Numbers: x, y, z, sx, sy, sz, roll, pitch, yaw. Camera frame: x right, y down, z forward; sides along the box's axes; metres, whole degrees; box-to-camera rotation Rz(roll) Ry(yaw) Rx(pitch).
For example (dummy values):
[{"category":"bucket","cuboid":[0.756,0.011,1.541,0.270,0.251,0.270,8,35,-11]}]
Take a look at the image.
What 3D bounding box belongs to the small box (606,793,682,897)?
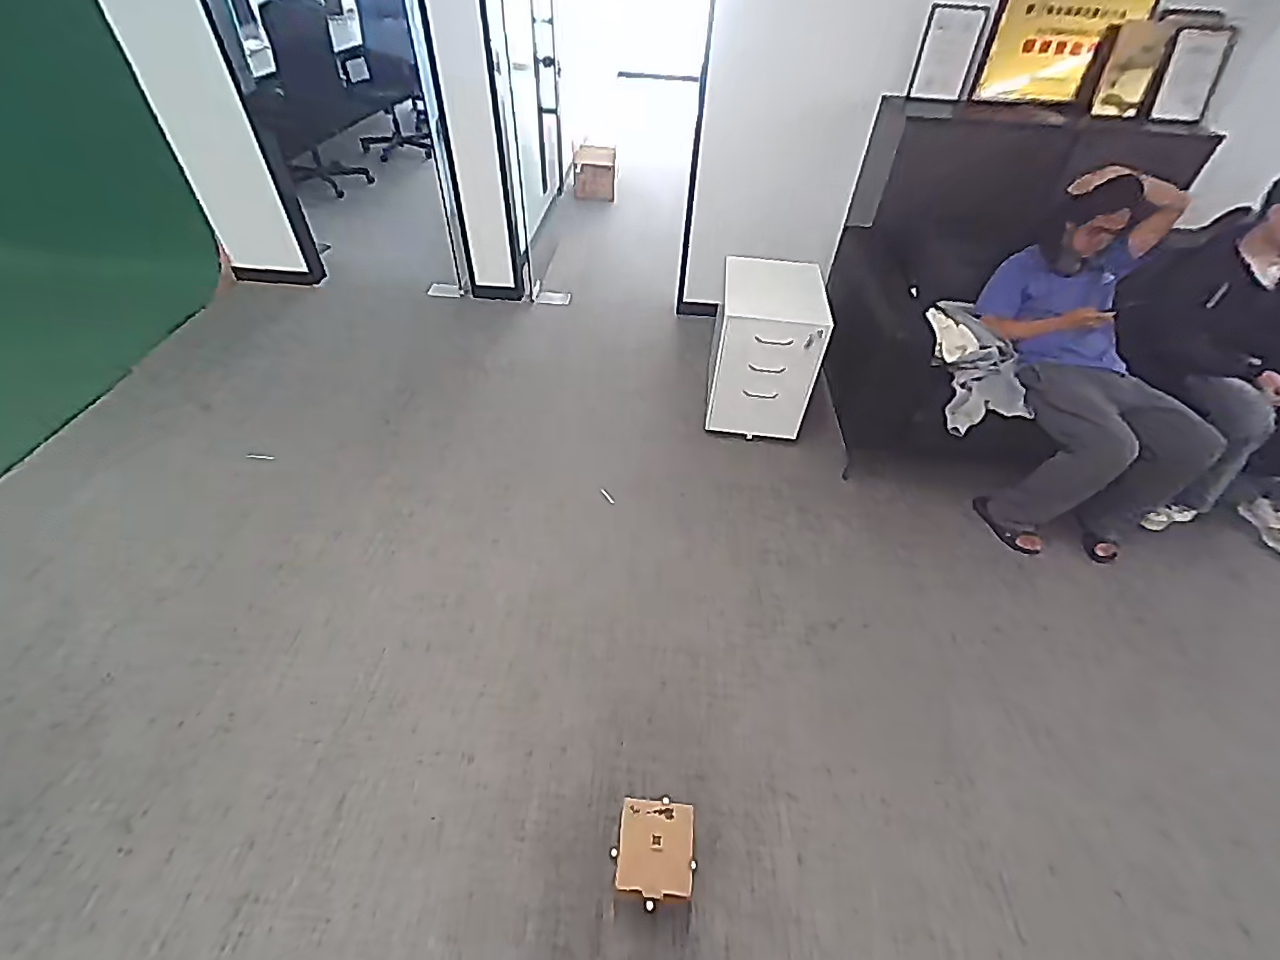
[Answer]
[{"category":"small box","cuboid":[0.010,0.865,1.276,0.168,0.176,0.179,5,46,-1]}]
